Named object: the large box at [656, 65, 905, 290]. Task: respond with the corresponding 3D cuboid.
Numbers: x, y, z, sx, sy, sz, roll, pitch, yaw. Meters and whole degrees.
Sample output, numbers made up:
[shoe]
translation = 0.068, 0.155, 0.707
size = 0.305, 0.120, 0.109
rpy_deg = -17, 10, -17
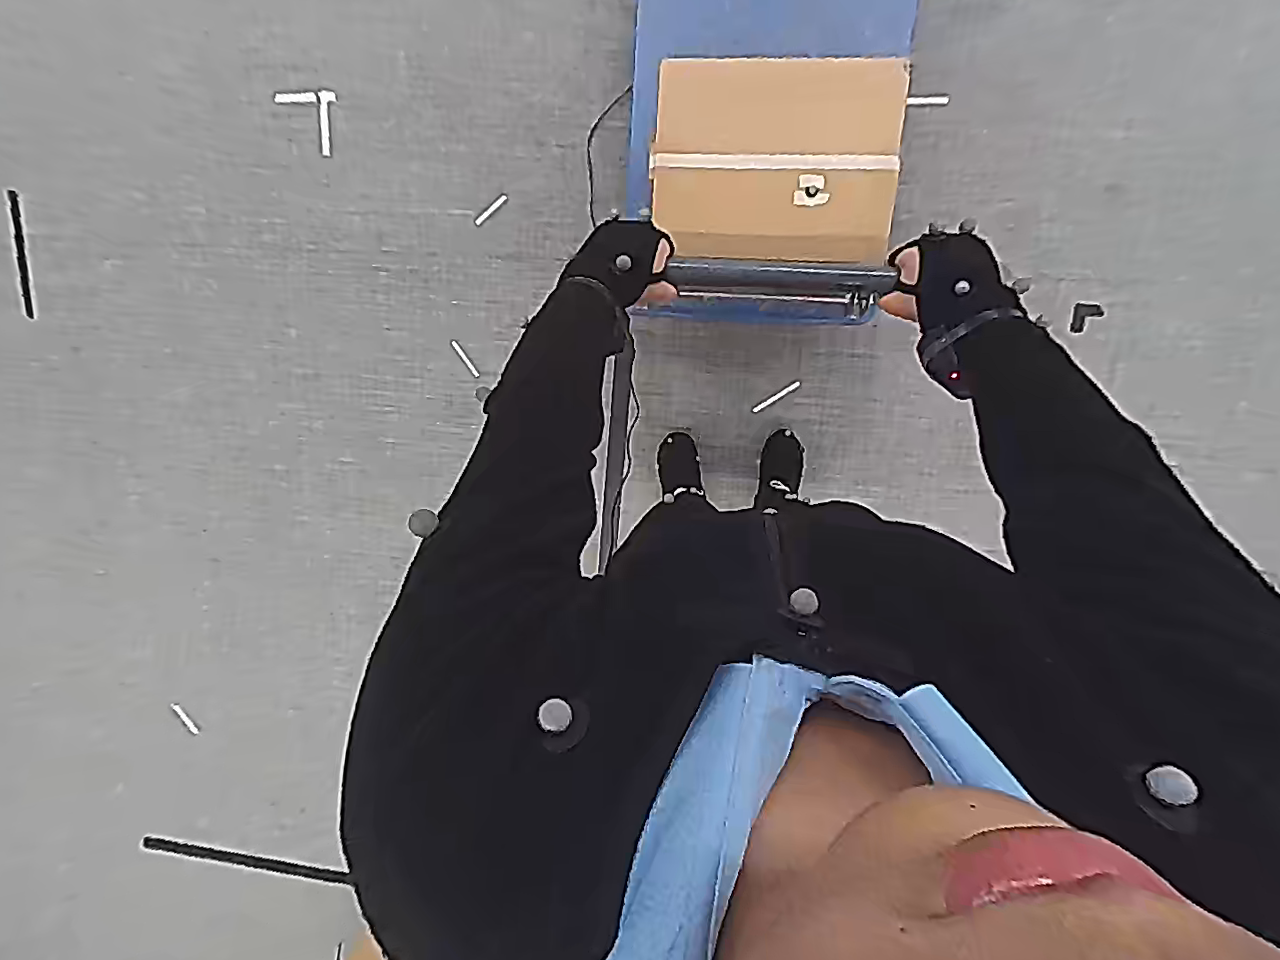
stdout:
[large box]
translation = 0.244, -0.562, 1.071
size = 0.408, 0.320, 0.320
rpy_deg = 4, 102, 5
